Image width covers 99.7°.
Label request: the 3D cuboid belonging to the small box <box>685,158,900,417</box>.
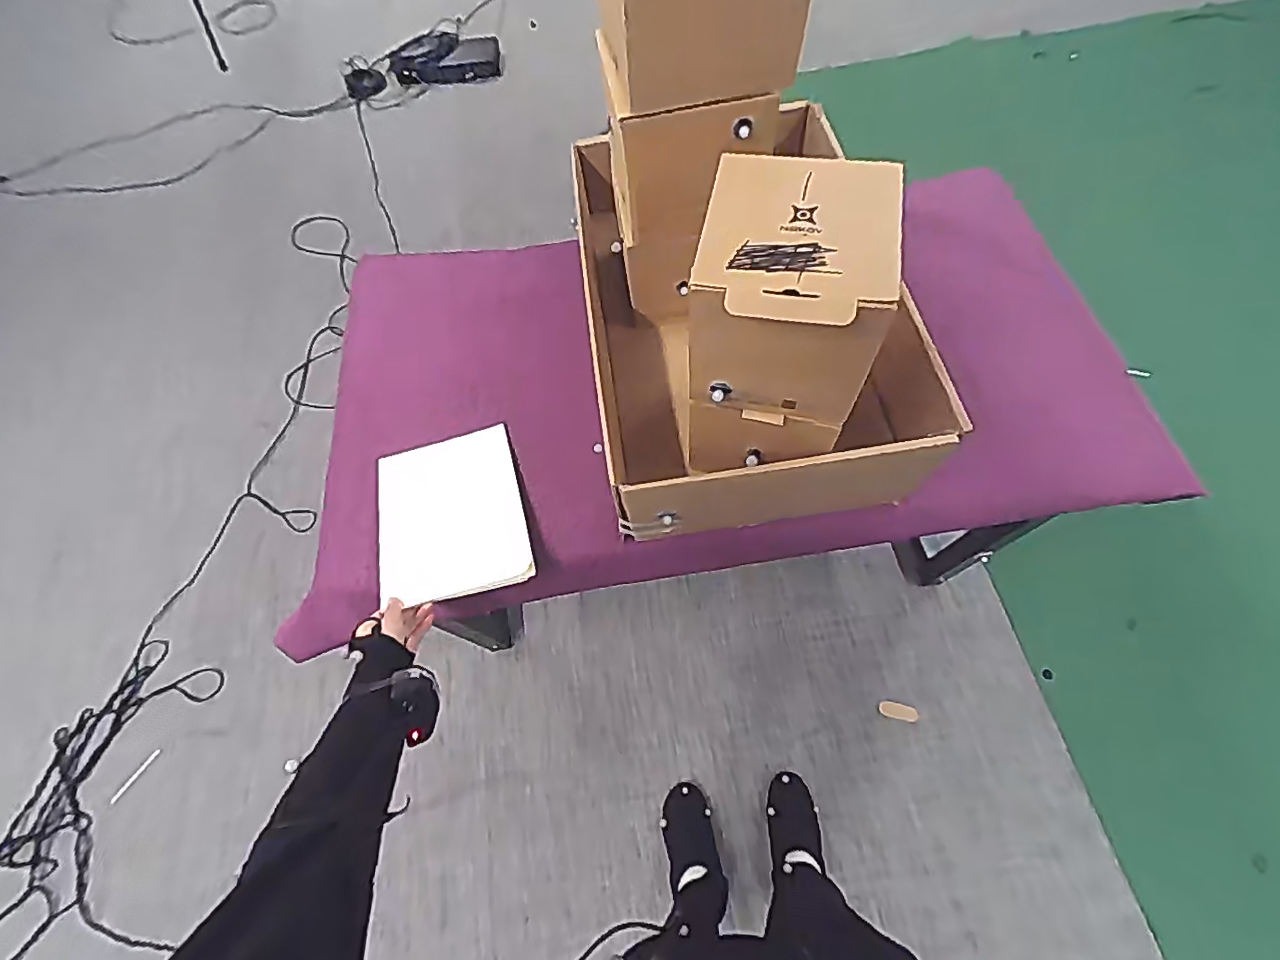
[{"bbox_3d":[0.143,-0.183,0.537,0.168,0.176,0.179,9,64,10],"label":"small box"}]

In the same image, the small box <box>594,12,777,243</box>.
[{"bbox_3d":[0.051,-0.419,0.663,0.179,0.176,0.168,-11,66,-1],"label":"small box"}]

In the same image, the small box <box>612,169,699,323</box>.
[{"bbox_3d":[0.056,-0.355,0.811,0.168,0.176,0.179,-8,66,0],"label":"small box"}]
